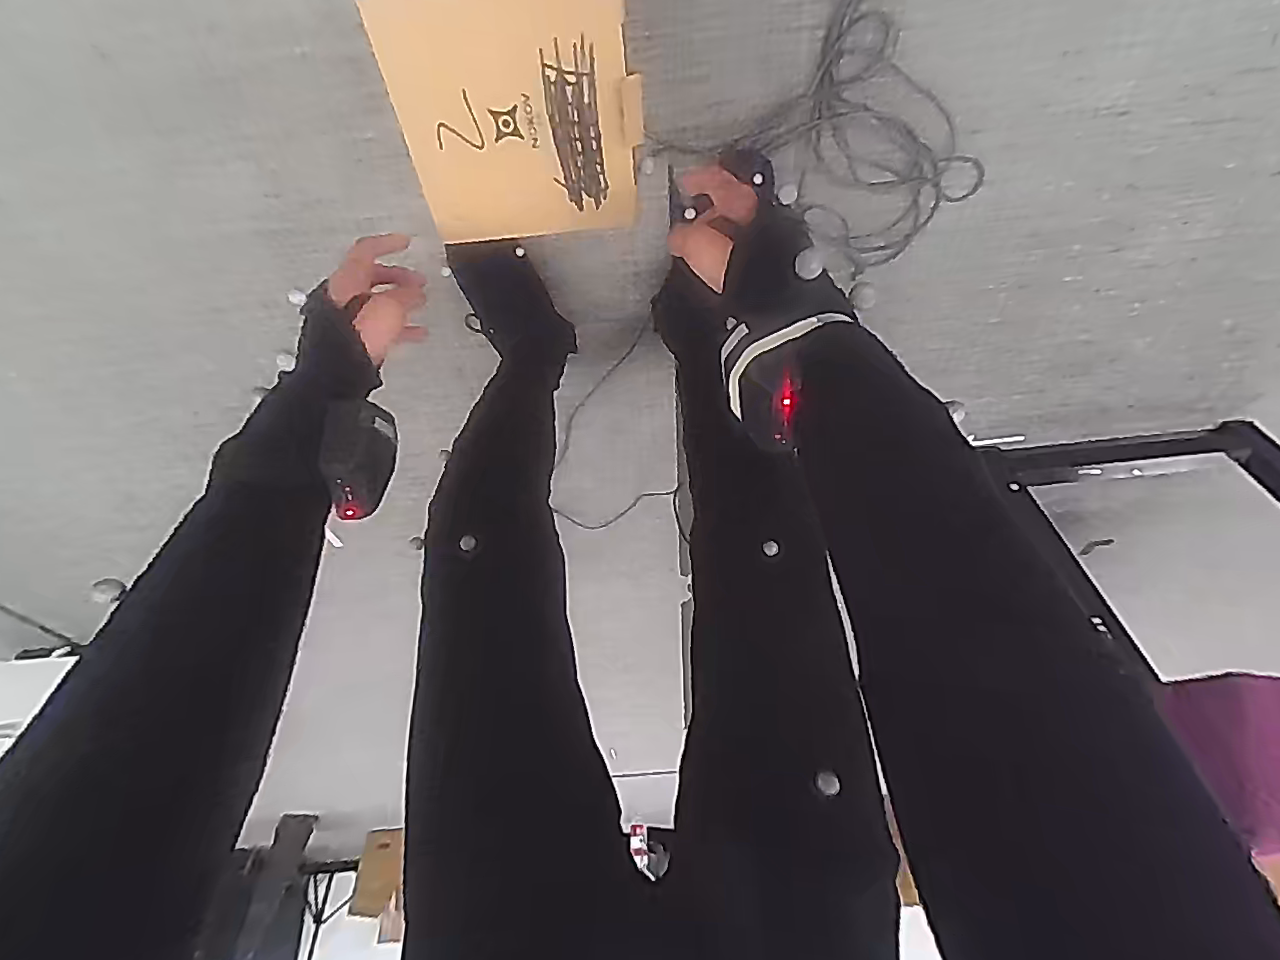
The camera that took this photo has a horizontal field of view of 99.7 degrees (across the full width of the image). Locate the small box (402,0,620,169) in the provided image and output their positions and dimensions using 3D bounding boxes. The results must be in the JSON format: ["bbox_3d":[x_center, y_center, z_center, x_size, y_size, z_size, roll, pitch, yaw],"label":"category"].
[{"bbox_3d":[-0.116,-0.444,0.552,0.179,0.176,0.168,-6,138,3],"label":"small box"}]
